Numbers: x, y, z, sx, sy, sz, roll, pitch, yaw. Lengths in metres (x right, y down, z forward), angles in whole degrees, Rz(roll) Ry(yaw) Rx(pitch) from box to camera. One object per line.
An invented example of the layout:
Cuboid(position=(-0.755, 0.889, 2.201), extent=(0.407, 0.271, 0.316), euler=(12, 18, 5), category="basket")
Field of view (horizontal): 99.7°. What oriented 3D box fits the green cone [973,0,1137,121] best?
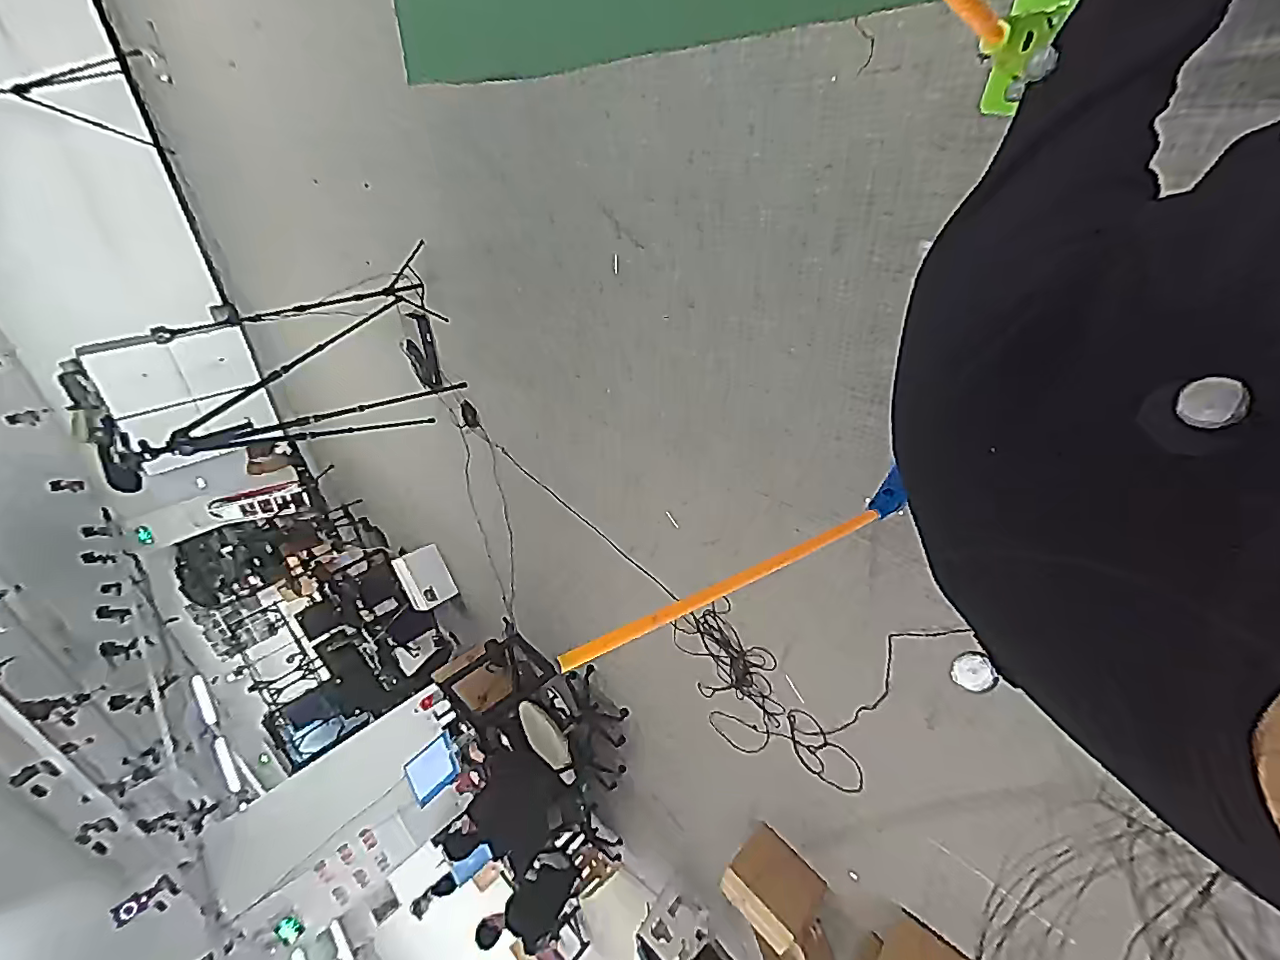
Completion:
Cuboid(position=(0.663, -0.743, 0.928), extent=(0.202, 0.368, 0.200), euler=(32, 134, 35), category="green cone")
